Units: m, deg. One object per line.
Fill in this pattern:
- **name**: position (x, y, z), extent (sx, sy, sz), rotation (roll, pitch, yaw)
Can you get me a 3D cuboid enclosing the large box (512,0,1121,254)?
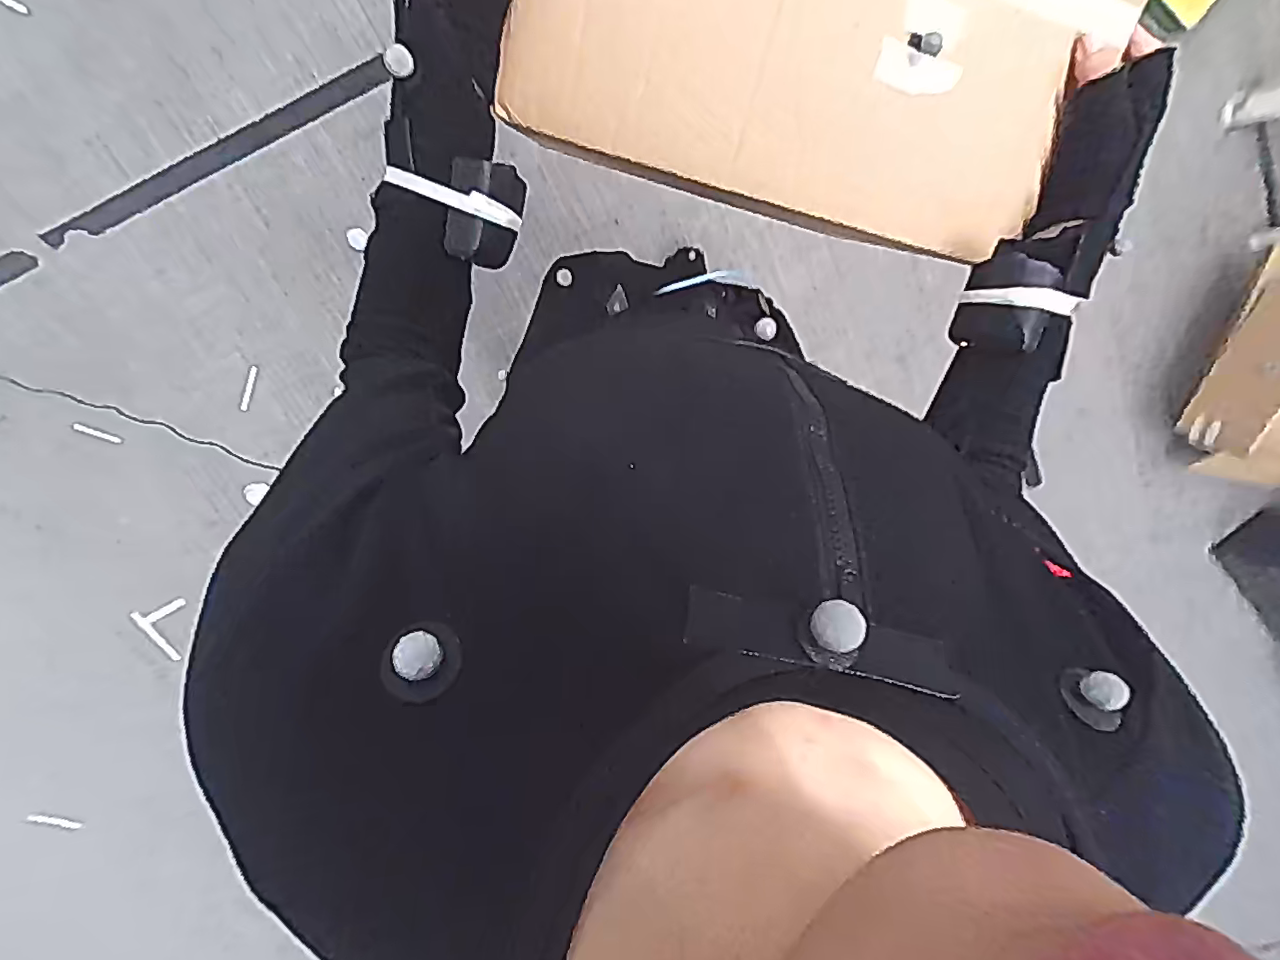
- **large box**: position (0.121, -0.422, 0.474), extent (0.408, 0.320, 0.320), rotation (10, 119, -11)
